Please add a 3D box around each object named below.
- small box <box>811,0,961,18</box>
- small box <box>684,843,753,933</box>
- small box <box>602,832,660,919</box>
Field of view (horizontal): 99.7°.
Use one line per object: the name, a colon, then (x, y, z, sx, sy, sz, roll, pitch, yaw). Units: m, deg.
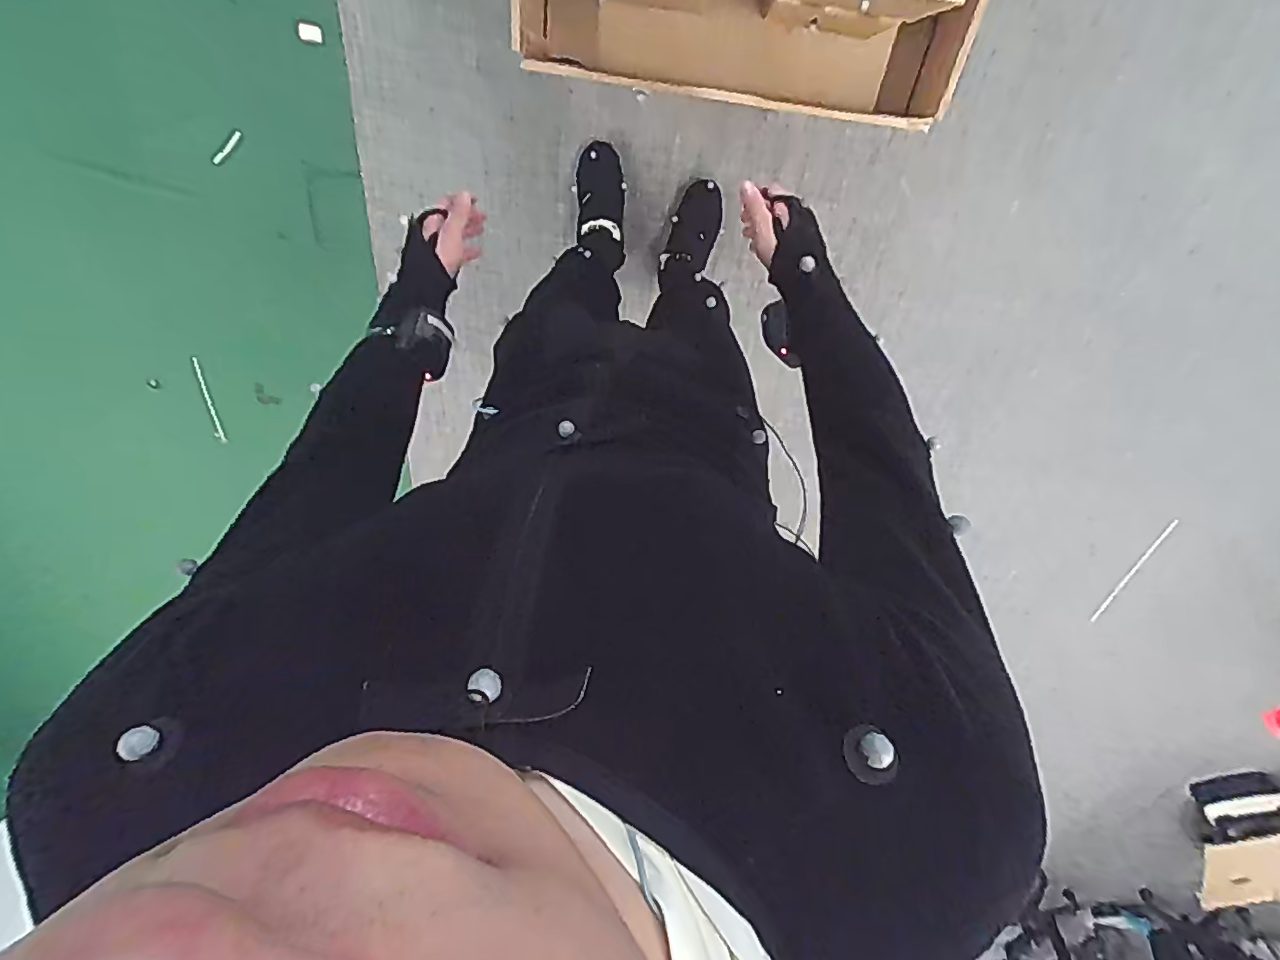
small box: (0.264, -0.612, 0.567, 0.179, 0.176, 0.168, 10, 126, -3)
small box: (0.238, 1.250, 1.663, 0.179, 0.176, 0.168, 9, 125, 0)
small box: (-0.027, 1.215, 1.665, 0.168, 0.176, 0.179, 5, 125, 2)
